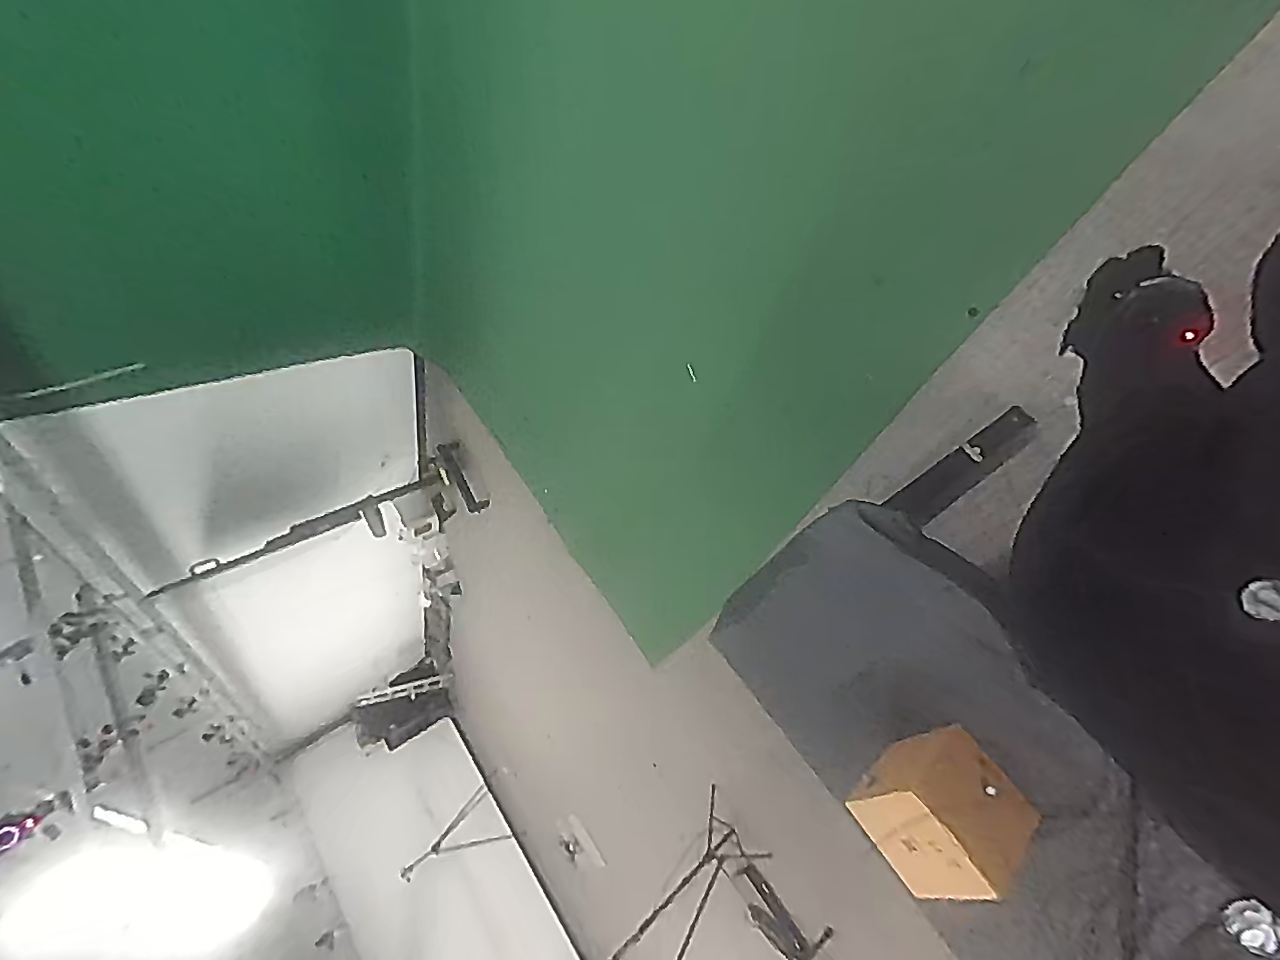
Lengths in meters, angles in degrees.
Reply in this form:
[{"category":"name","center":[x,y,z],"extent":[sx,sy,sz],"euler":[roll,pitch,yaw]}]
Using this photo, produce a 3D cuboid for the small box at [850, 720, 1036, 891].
[{"category":"small box","center":[0.493,0.527,0.884],"extent":[0.168,0.176,0.179],"euler":[51,143,19]}]
